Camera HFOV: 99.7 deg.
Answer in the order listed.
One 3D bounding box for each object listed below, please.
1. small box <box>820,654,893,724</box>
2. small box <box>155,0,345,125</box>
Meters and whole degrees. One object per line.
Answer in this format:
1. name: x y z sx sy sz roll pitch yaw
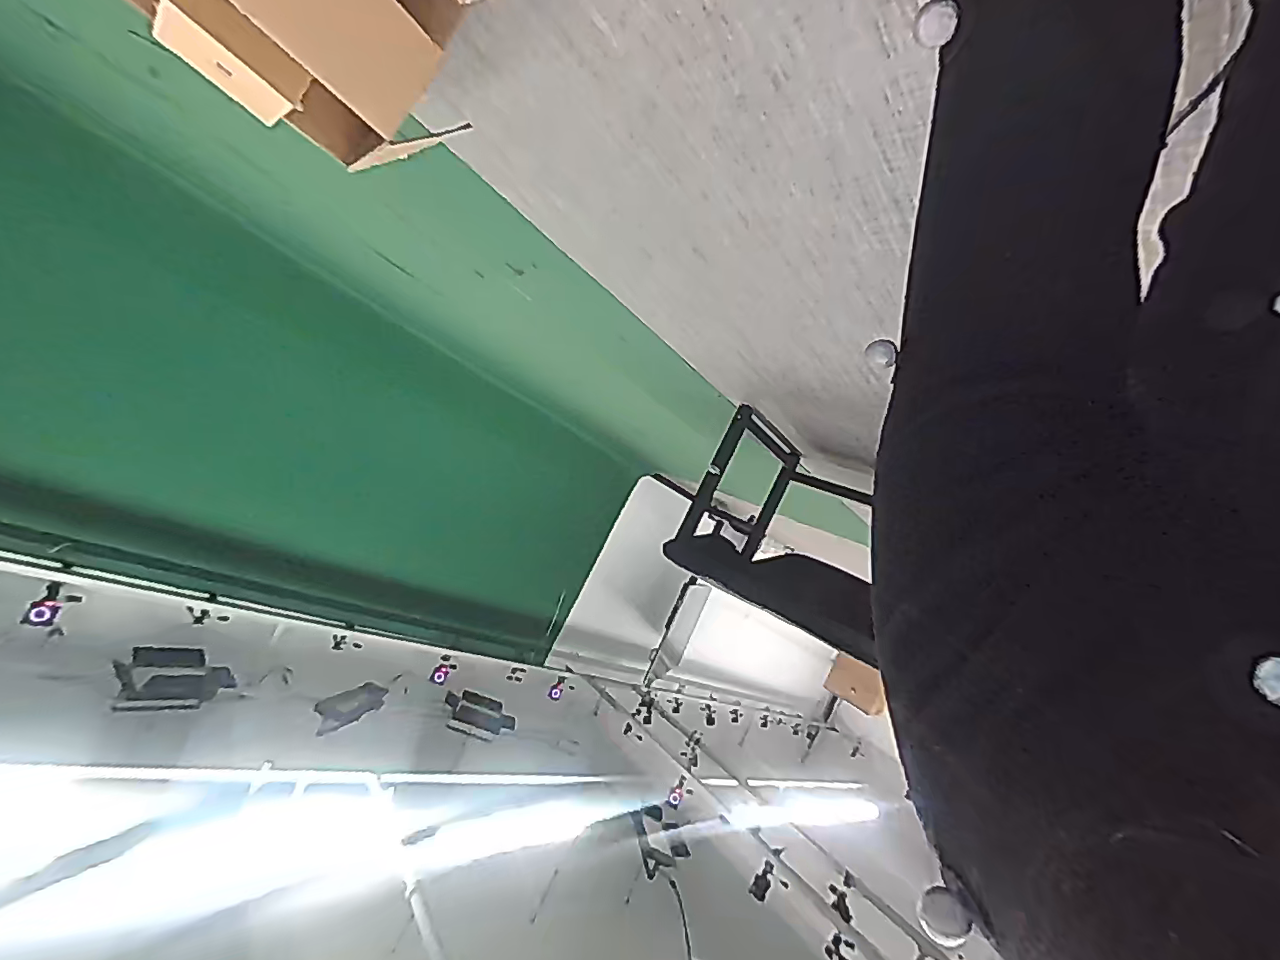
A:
1. small box: 0.778 0.743 1.925 0.179 0.176 0.168 23 173 42
2. small box: -0.578 -0.683 0.811 0.179 0.176 0.168 21 171 43
